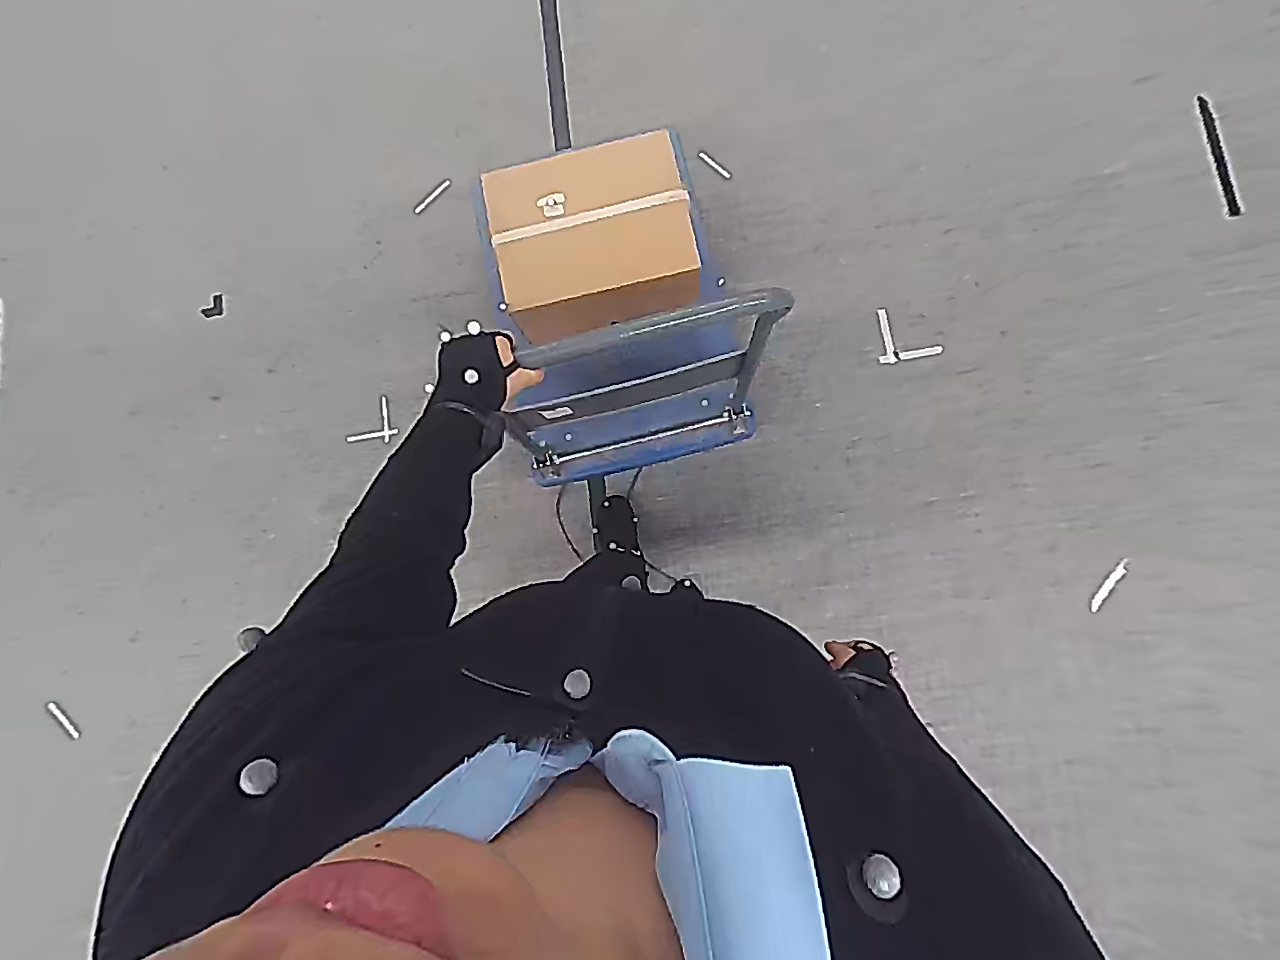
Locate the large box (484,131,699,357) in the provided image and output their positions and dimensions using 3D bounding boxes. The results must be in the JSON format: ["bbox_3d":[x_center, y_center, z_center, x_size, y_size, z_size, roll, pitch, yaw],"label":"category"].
[{"bbox_3d":[-0.093,-0.520,1.263,0.408,0.320,0.320,-13,82,3],"label":"large box"}]
